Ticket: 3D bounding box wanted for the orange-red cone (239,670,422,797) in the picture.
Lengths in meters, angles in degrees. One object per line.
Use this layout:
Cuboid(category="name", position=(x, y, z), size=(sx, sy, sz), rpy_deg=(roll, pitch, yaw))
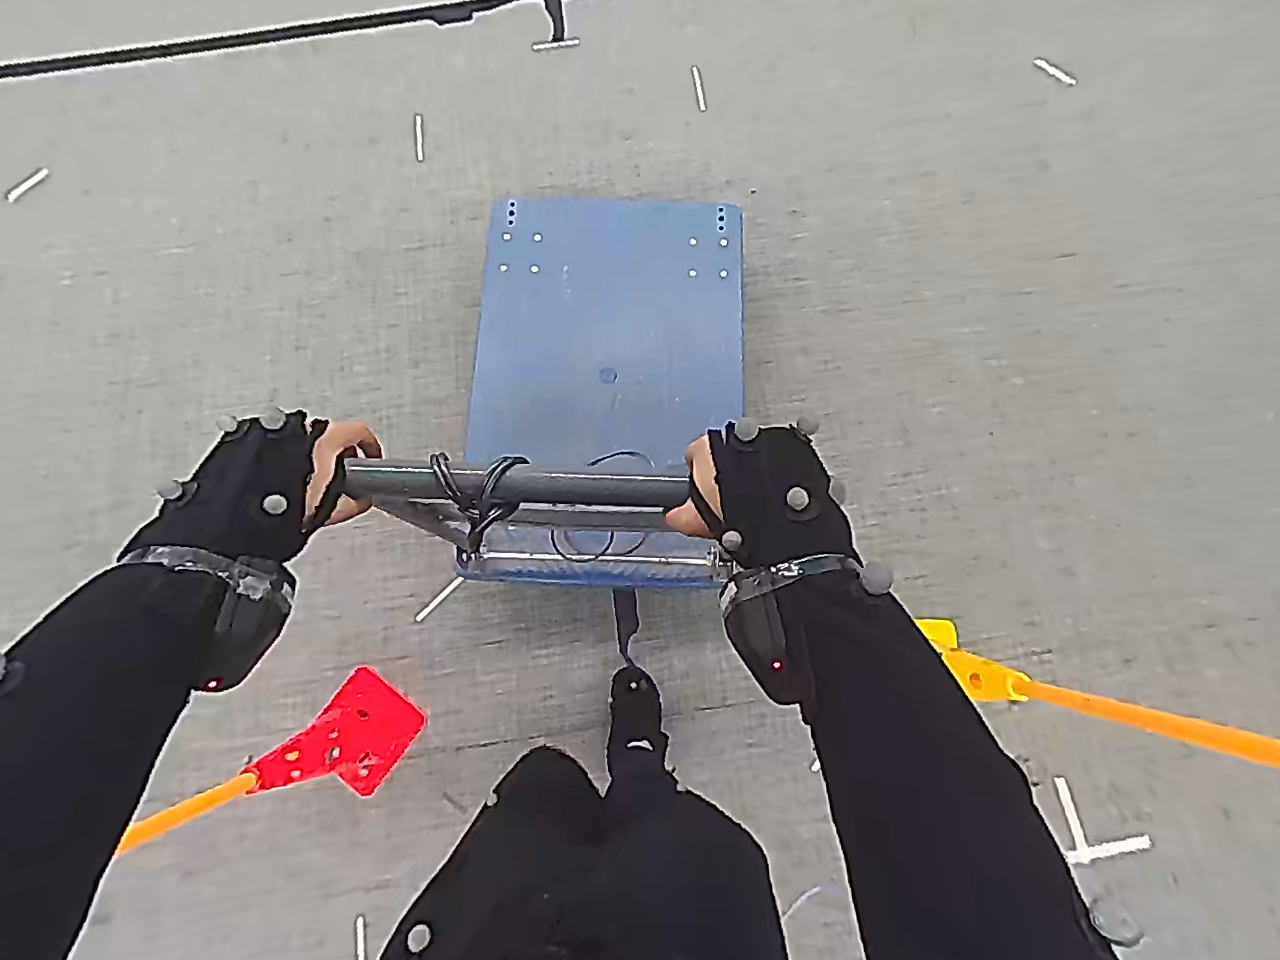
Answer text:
Cuboid(category="orange-red cone", position=(-0.586, 0.494, 0.981), size=(0.198, 0.360, 0.199), rpy_deg=(37, 78, 8))
